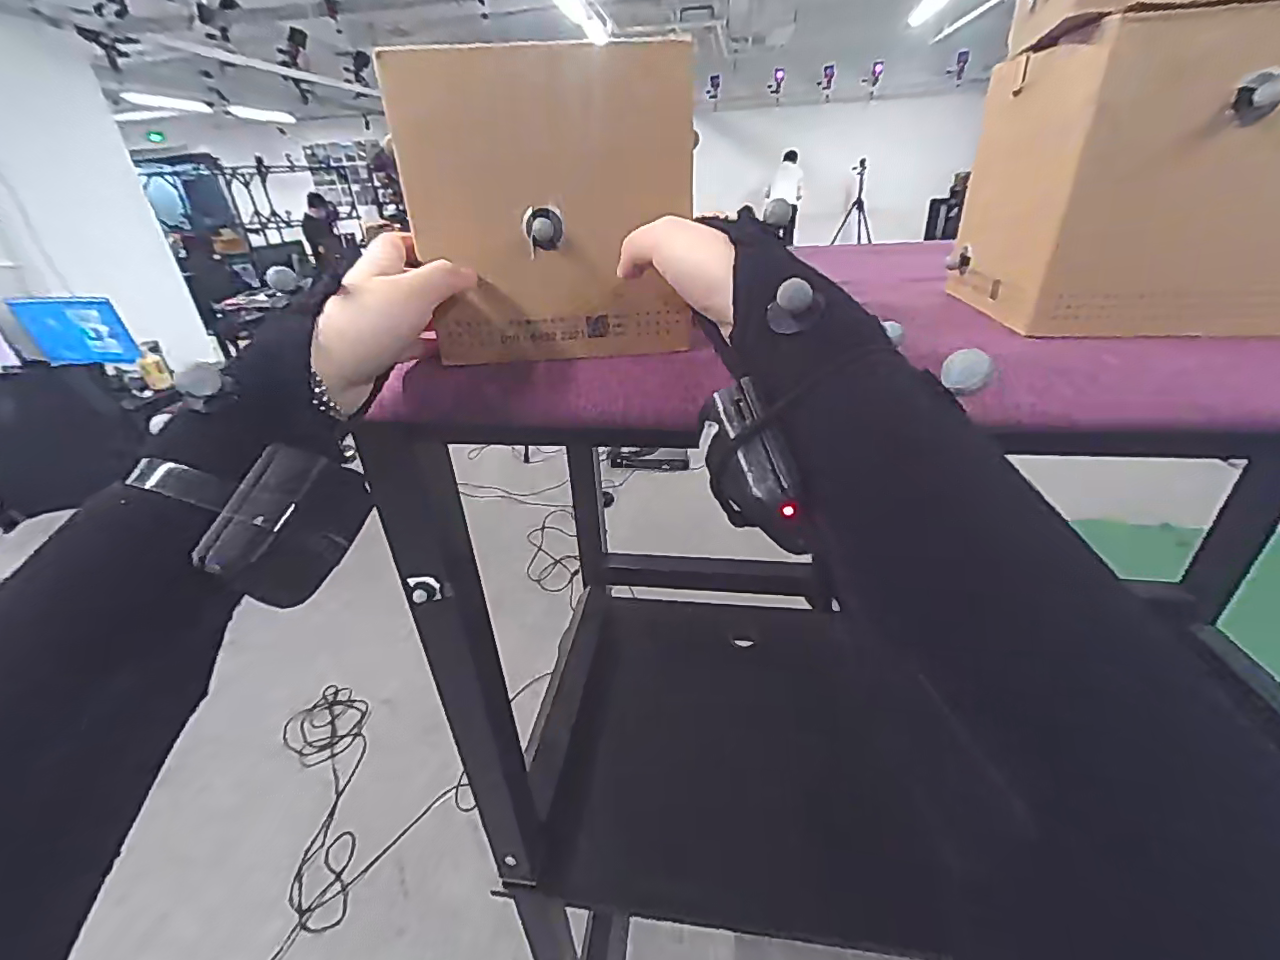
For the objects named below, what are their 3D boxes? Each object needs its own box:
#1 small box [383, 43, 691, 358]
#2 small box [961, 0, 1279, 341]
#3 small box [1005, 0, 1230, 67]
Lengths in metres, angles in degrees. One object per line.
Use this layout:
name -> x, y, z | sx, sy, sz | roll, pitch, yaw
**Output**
small box -> -0.054, -0.190, 0.390 | 0.168, 0.176, 0.179 | -3, 29, -3
small box -> 0.343, -0.196, 0.366 | 0.179, 0.176, 0.168 | 3, 30, 9
small box -> 0.331, -0.338, 0.288 | 0.179, 0.176, 0.168 | 6, 30, 19
